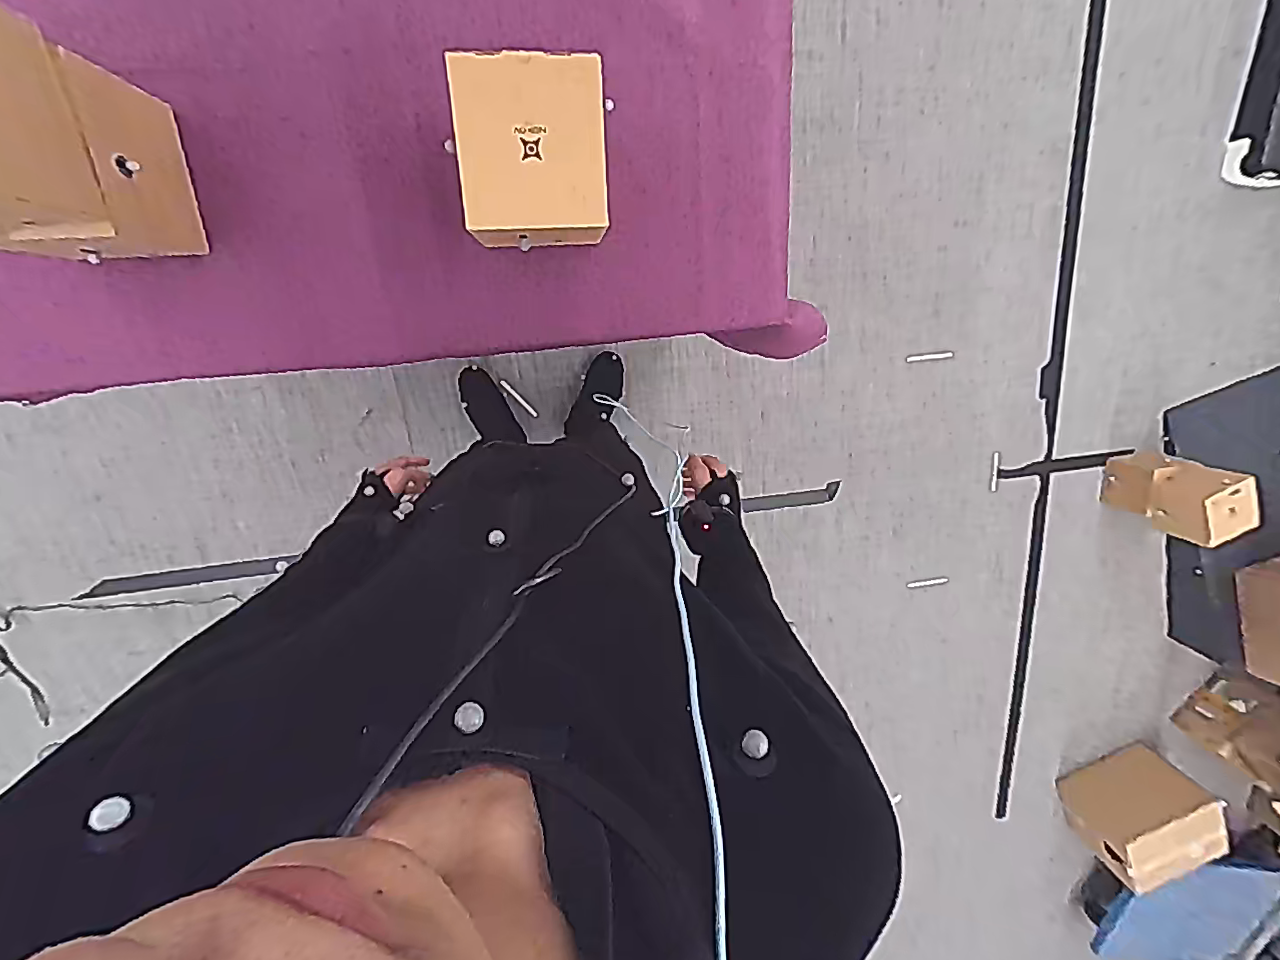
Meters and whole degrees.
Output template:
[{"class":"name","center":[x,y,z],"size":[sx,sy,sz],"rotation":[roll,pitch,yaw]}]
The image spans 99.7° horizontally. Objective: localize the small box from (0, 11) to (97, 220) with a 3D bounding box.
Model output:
[{"class":"small box","center":[-0.628,-0.320,0.450],"size":[0.168,0.176,0.179],"rotation":[-9,107,-6]}]

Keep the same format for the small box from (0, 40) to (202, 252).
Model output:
[{"class":"small box","center":[-0.647,-0.356,0.610],"size":[0.168,0.176,0.179],"rotation":[-5,107,-8]}]

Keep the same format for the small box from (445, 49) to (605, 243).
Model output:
[{"class":"small box","center":[-0.132,-0.399,0.678],"size":[0.168,0.176,0.179],"rotation":[-5,107,-7]}]
